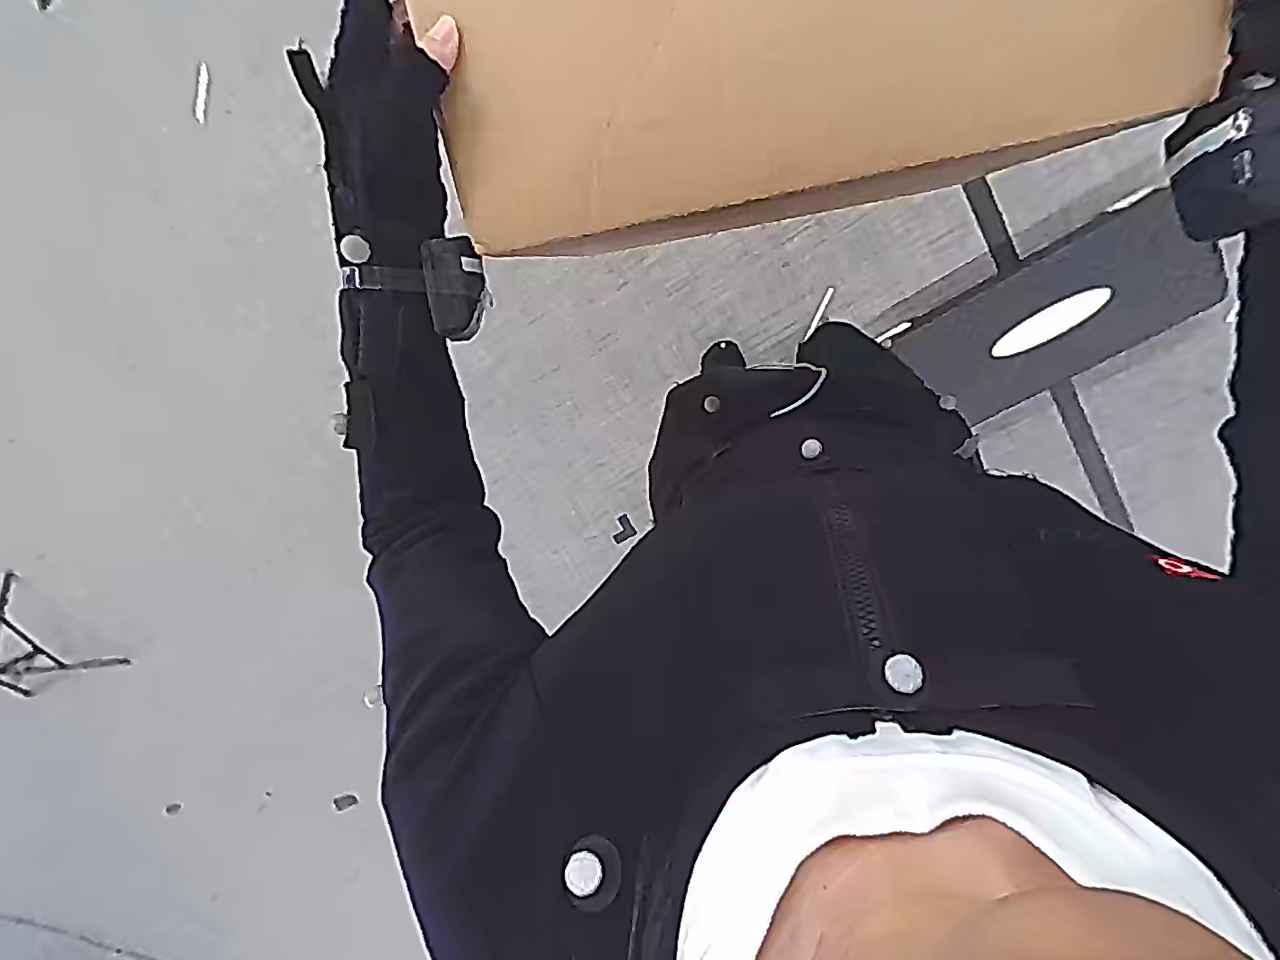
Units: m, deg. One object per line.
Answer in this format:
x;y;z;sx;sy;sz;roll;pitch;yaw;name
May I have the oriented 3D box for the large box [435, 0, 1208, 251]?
0.088;-0.376;0.404;0.408;0.320;0.320;-7;112;10;large box
